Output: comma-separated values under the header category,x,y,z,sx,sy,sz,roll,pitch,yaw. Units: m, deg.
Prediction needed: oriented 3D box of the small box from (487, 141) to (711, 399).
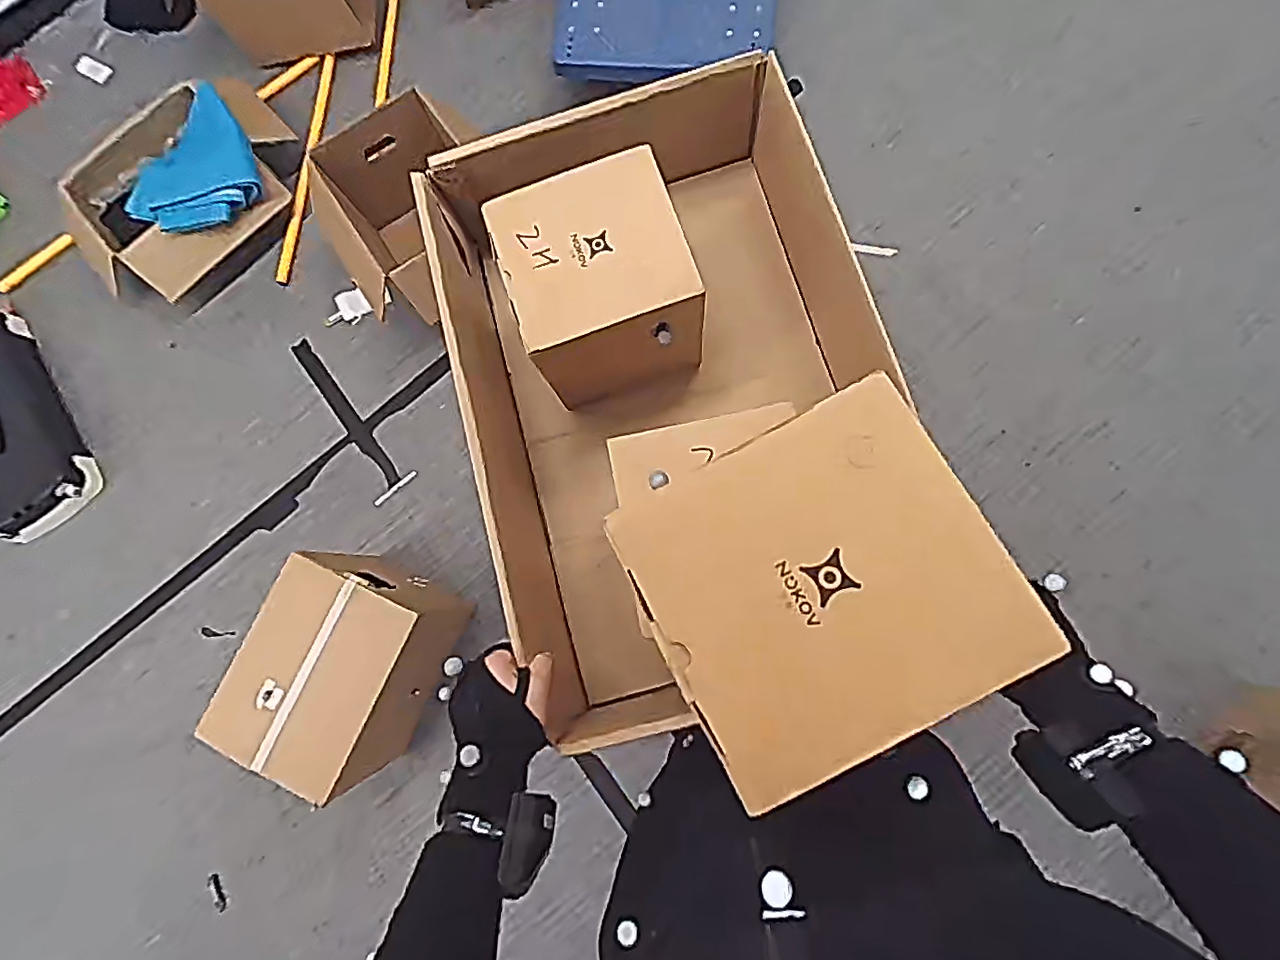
category,x,y,z,sx,sy,sz,roll,pitch,yaw
small box,-0.036,-0.208,0.579,0.179,0.176,0.168,-19,79,1

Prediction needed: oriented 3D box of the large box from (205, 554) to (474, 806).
category,x,y,z,sx,sy,sz,roll,pitch,yaw
large box,-0.640,0.410,1.222,0.320,0.320,0.408,23,84,9
